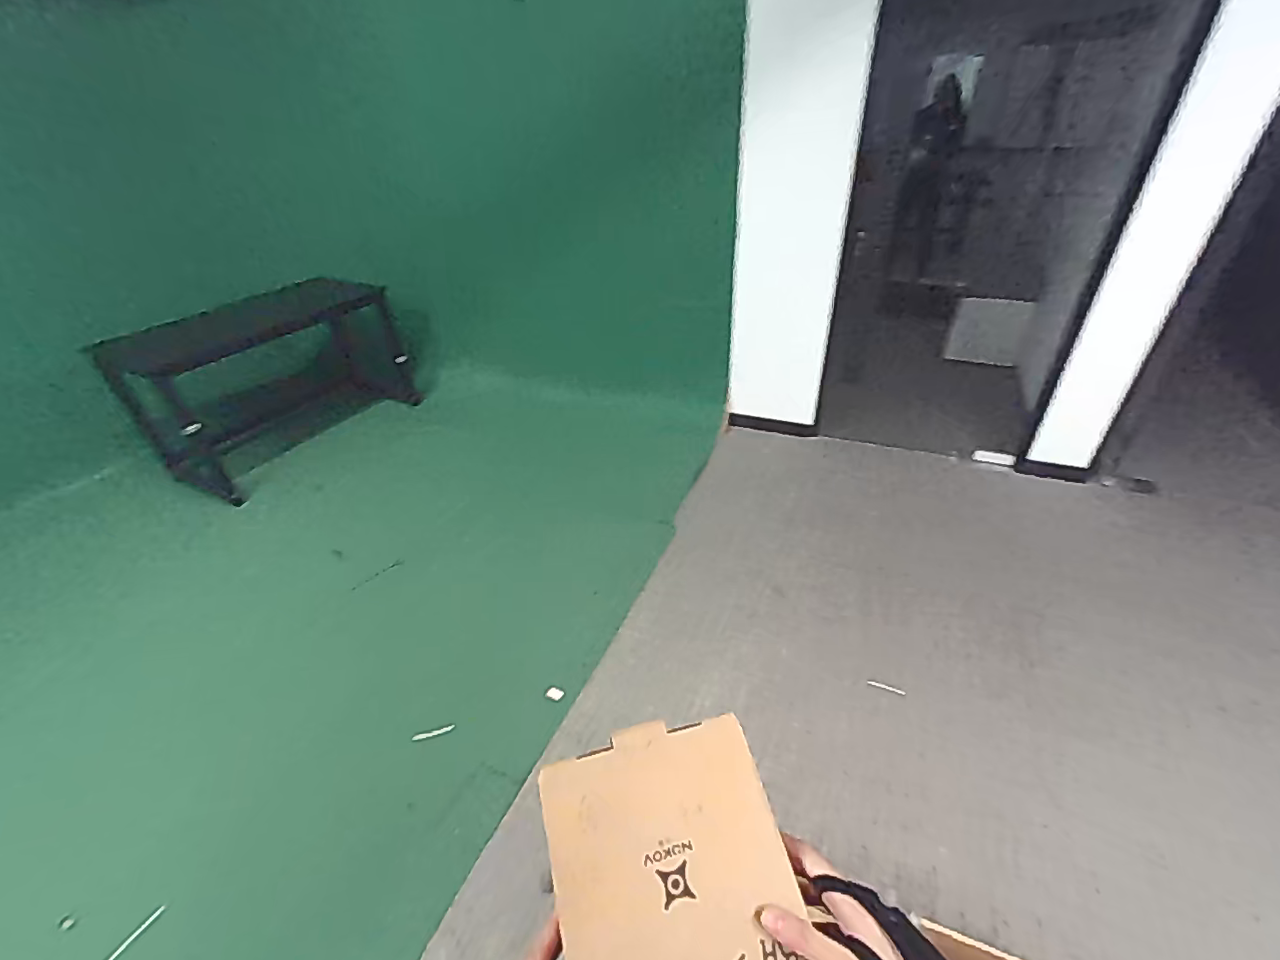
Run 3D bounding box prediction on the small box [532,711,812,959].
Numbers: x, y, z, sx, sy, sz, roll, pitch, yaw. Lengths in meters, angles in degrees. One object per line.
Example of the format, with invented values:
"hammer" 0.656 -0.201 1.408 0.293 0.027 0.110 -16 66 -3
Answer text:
"small box" 0.008 0.318 0.444 0.168 0.176 0.179 -10 55 -13
